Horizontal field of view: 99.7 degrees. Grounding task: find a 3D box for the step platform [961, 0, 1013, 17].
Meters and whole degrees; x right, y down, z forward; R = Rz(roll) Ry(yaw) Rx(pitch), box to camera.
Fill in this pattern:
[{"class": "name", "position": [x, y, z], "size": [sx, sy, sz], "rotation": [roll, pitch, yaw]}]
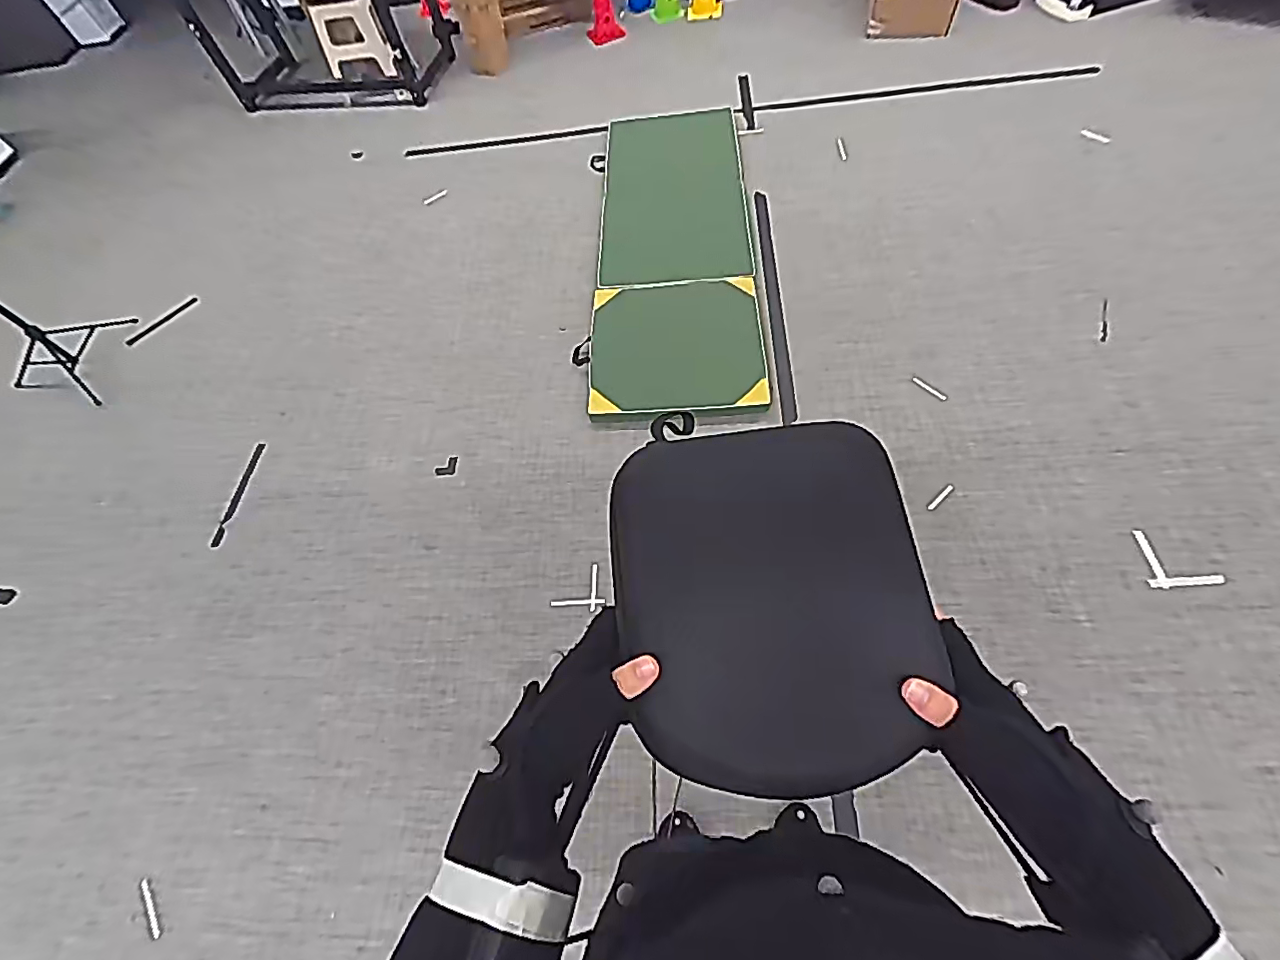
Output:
[{"class": "step platform", "position": [2.089, -2.729, 2.878], "size": [0.684, 0.204, 0.286], "rotation": [-29, 61, -8]}]
